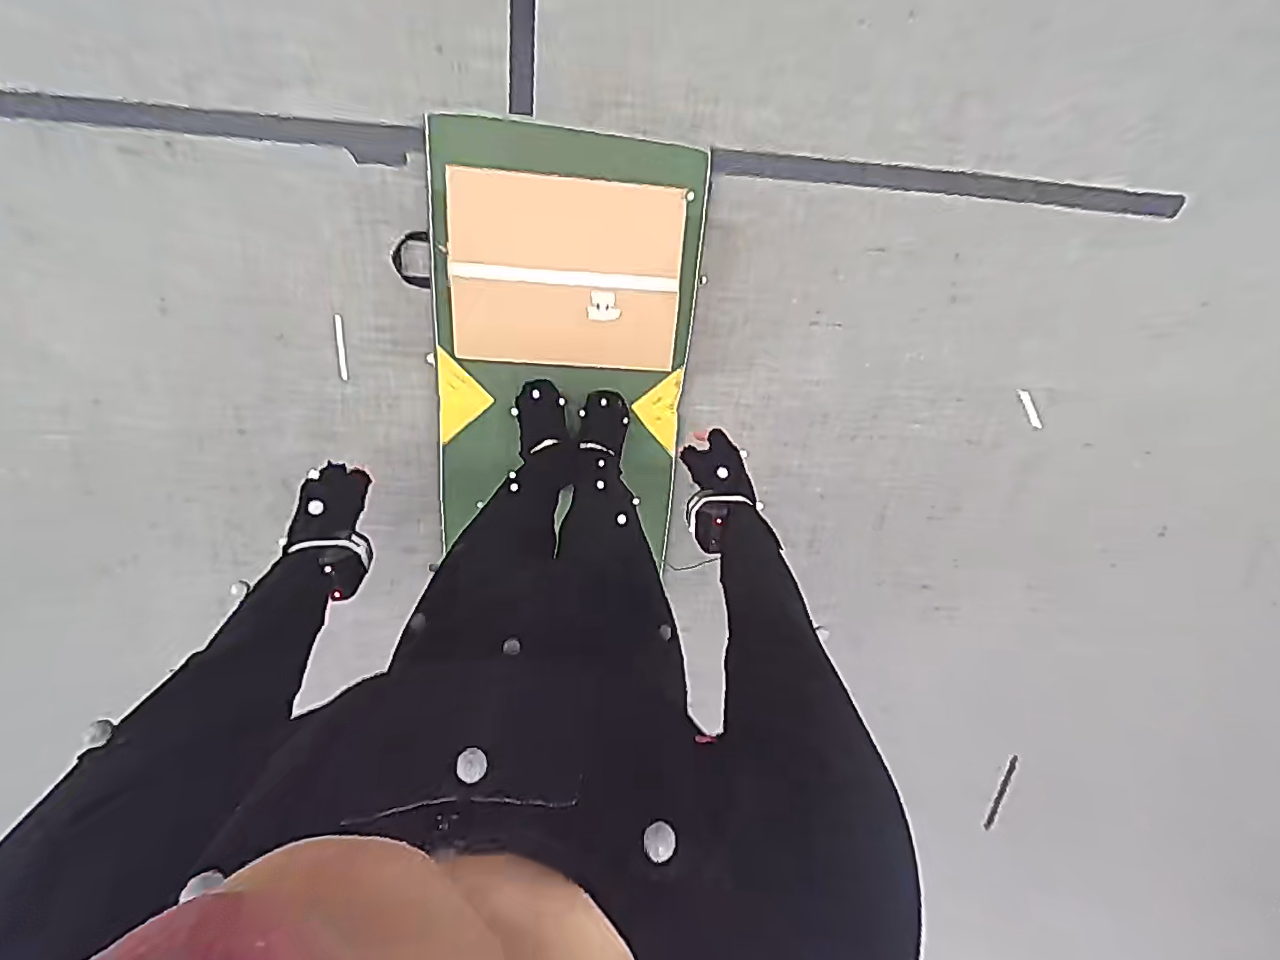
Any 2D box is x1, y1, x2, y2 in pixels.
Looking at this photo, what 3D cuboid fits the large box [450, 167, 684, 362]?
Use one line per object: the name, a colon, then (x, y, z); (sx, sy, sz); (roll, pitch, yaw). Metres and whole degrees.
large box: (-0.145, -0.426, 1.109); (0.408, 0.320, 0.320); (1, 111, -7)
